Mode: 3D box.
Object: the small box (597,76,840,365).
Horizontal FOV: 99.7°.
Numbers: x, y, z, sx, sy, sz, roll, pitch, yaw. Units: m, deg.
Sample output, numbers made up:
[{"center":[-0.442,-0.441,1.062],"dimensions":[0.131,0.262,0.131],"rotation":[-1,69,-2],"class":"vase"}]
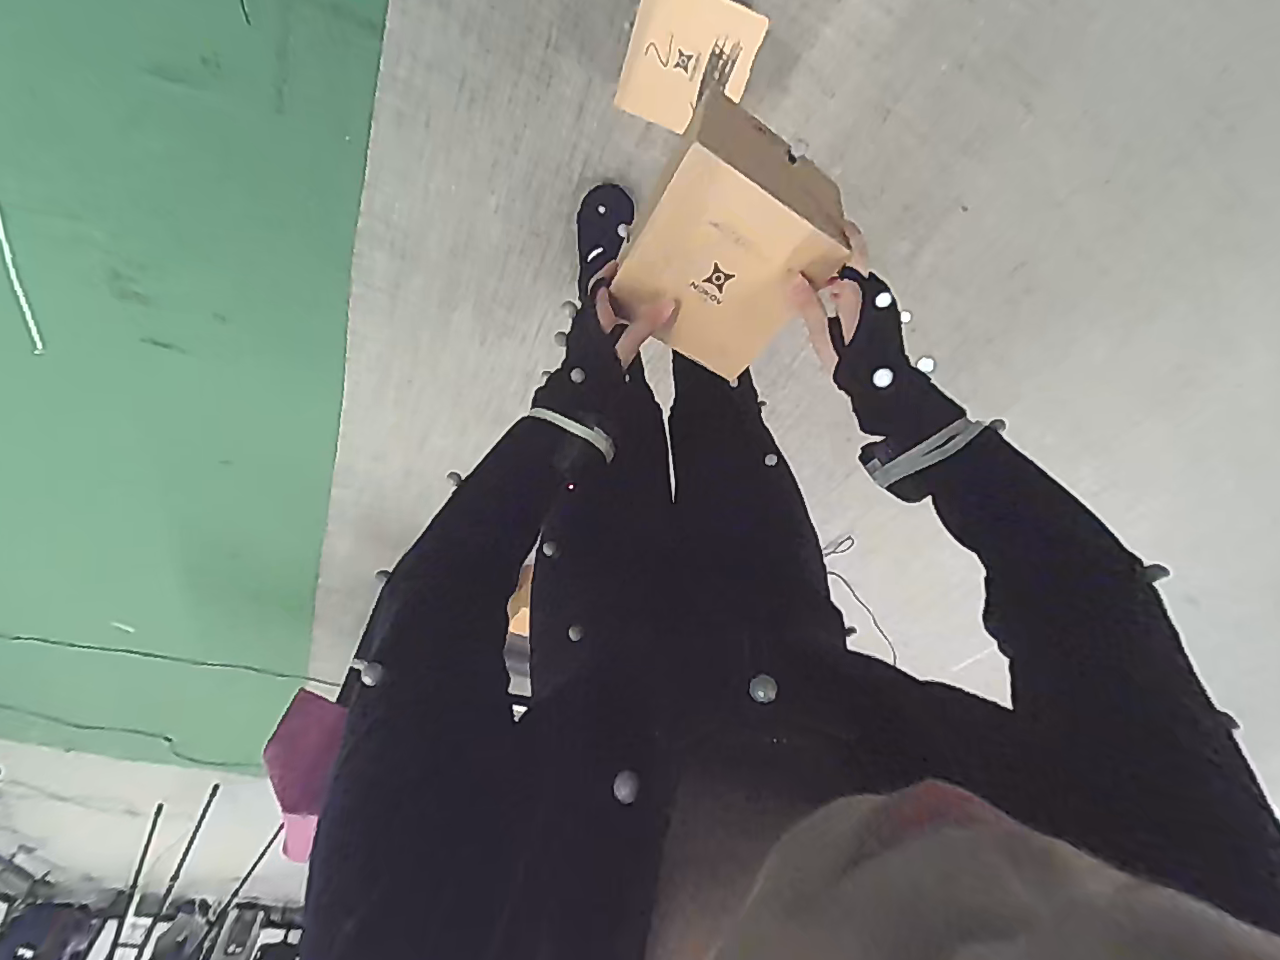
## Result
[{"center":[0.080,-0.261,0.557],"dimensions":[0.168,0.176,0.179],"rotation":[26,138,-17],"class":"small box"}]
